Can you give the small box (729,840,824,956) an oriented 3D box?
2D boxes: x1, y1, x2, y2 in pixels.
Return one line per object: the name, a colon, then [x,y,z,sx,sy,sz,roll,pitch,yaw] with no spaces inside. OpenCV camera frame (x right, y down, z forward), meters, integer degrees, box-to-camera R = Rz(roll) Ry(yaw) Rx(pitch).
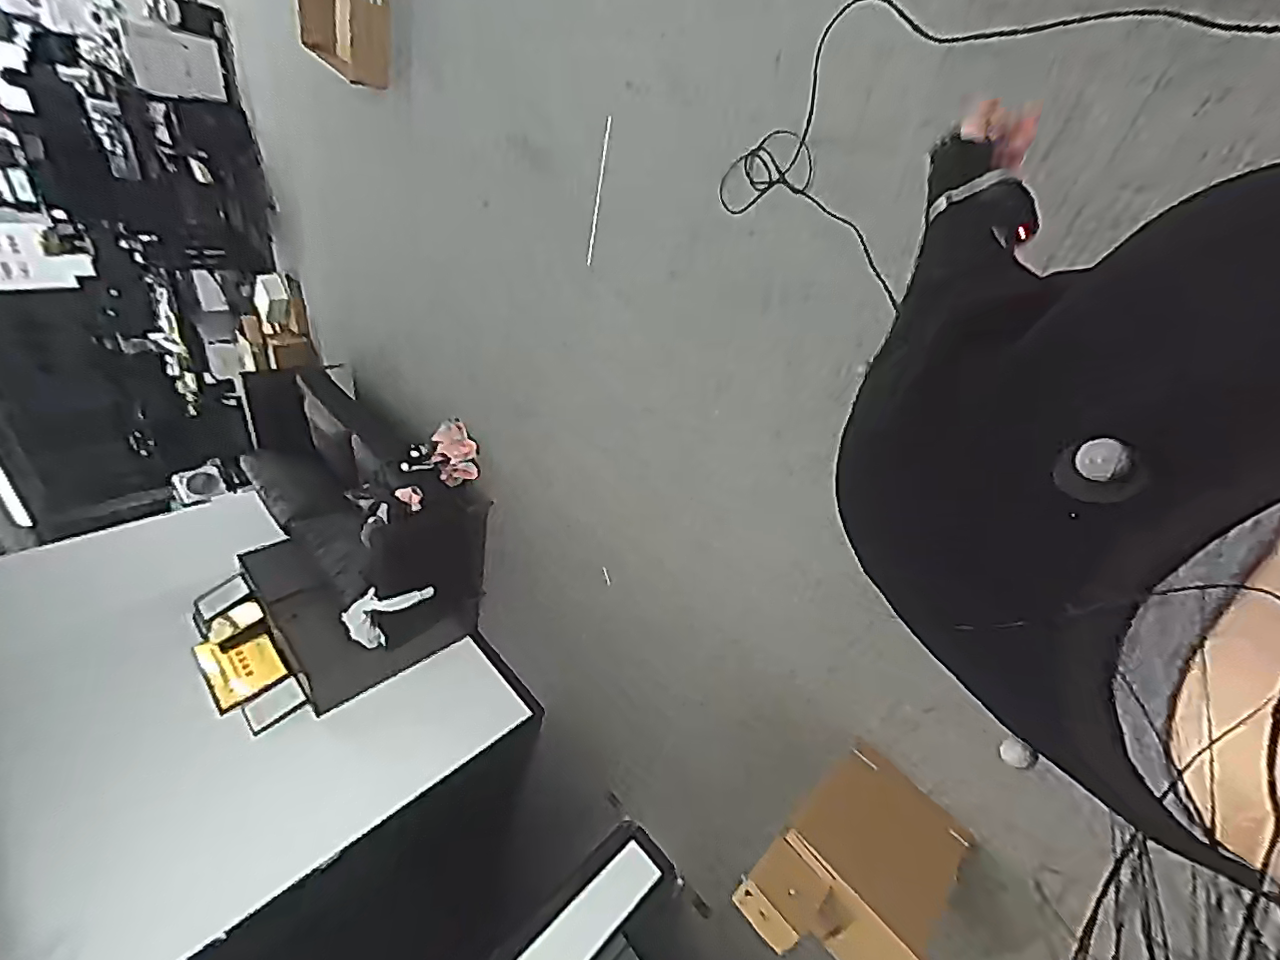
small box: [0.394,1.192,1.551,0.179,0.176,0.168,38,130,28]
